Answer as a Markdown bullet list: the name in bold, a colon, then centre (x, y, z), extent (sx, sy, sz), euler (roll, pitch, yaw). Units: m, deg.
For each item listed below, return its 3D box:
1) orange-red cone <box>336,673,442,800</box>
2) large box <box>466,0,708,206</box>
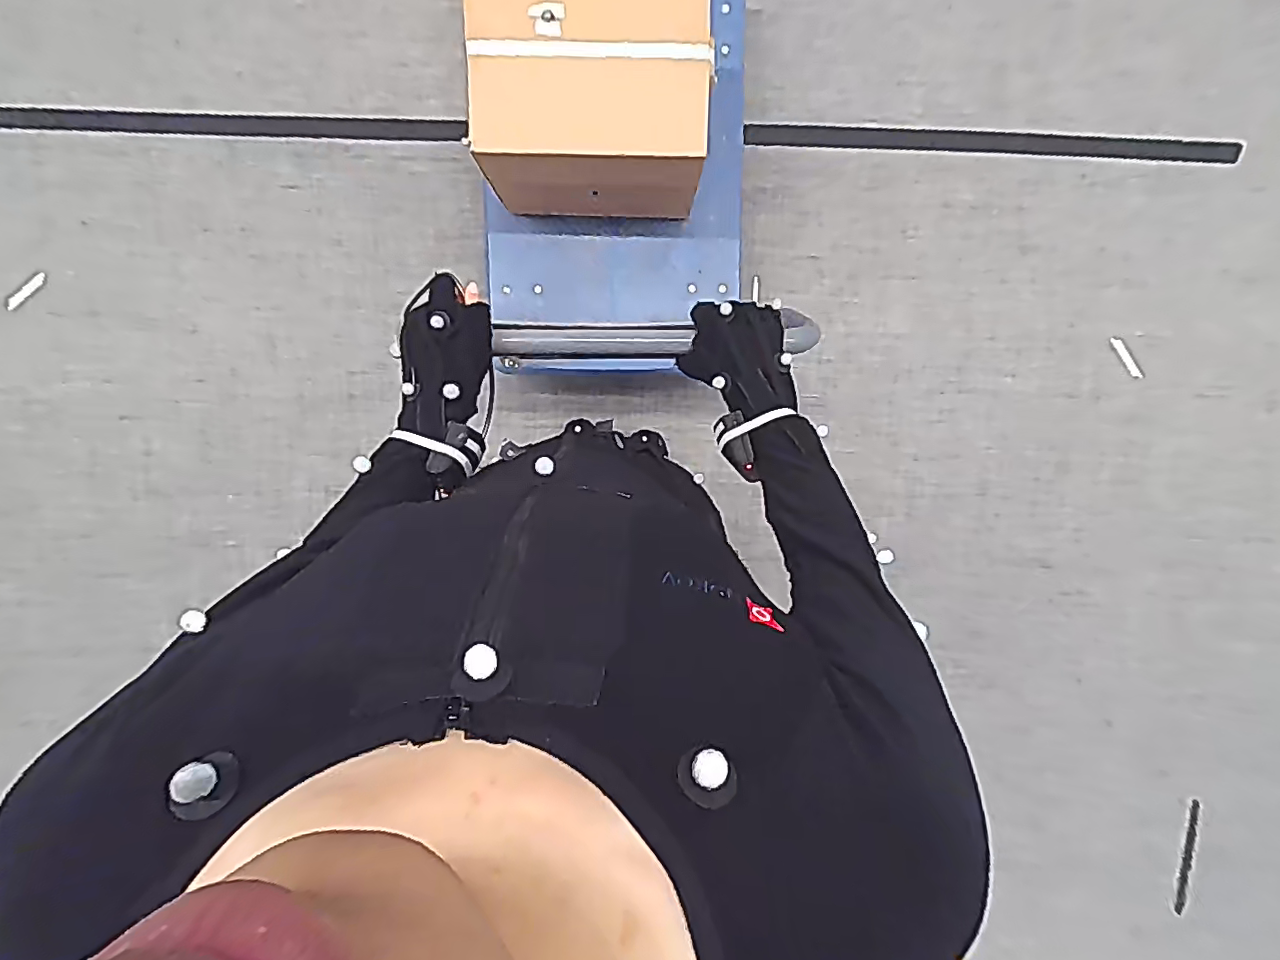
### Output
- **orange-red cone**: centre (-0.673, 0.679, 1.389), extent (0.198, 0.360, 0.199), euler (9, 97, -3)
- **large box**: centre (-0.086, -0.737, 1.039), extent (0.408, 0.320, 0.320), euler (1, 99, 0)
